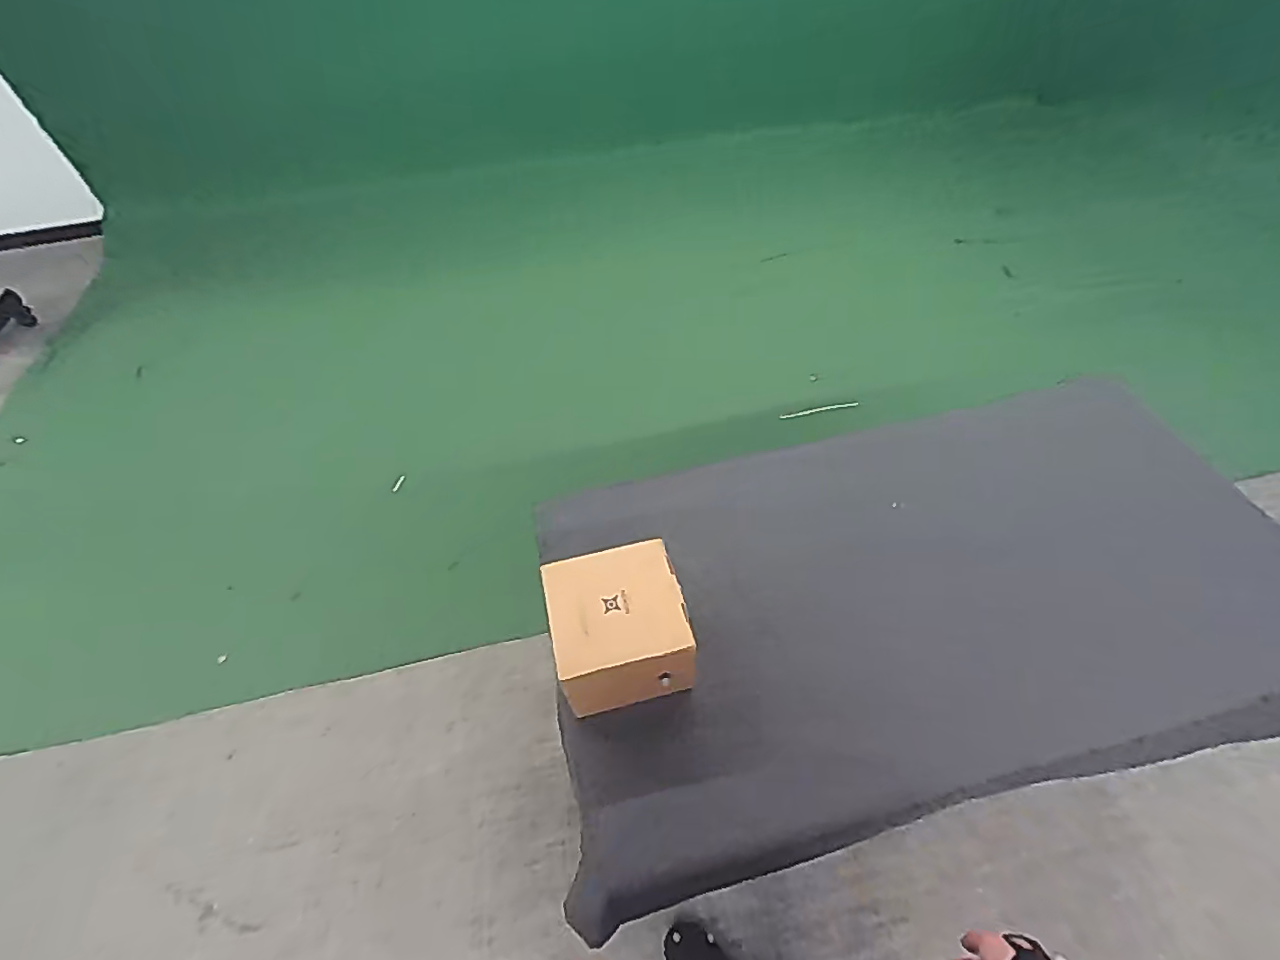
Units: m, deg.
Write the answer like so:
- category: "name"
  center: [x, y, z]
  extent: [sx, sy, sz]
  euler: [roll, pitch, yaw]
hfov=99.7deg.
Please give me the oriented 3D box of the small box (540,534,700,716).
- category: "small box"
  center: [-0.030, 0.202, 0.746]
  extent: [0.179, 0.176, 0.168]
  euler: [-13, 51, -9]
